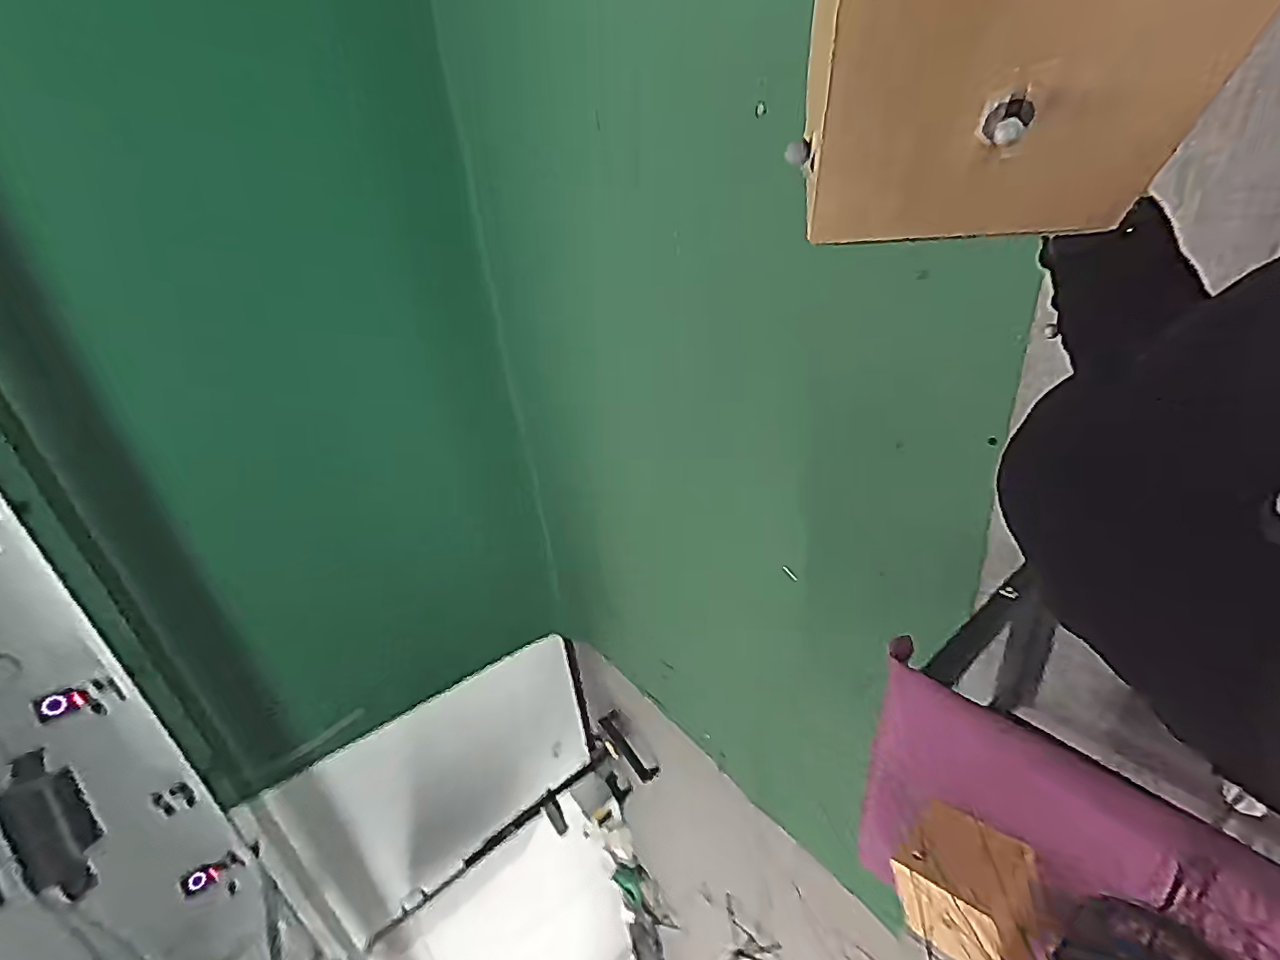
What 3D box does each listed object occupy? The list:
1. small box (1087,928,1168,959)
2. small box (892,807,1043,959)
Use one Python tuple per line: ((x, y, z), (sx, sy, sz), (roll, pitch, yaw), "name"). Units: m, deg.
((0.755, 0.828, 0.792), (0.179, 0.176, 0.168), (30, 133, 44), "small box")
((0.594, 0.740, 0.975), (0.179, 0.176, 0.168), (-3, 108, 56), "small box")
